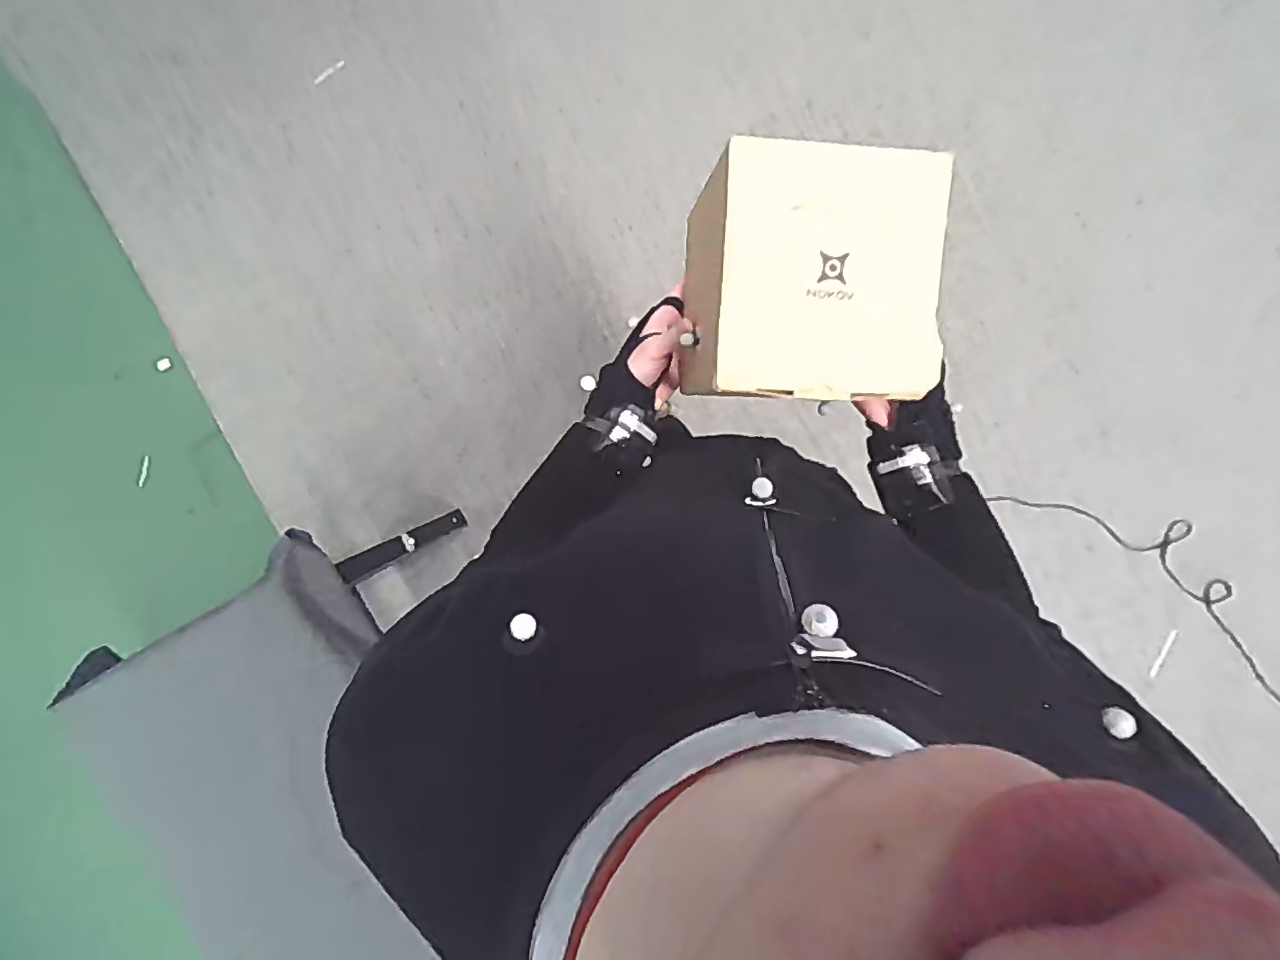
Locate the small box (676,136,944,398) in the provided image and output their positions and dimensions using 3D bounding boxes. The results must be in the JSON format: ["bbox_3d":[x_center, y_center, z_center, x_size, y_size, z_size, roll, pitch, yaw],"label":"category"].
[{"bbox_3d":[0.127,-0.162,0.470,0.168,0.176,0.179,0,98,-6],"label":"small box"}]
